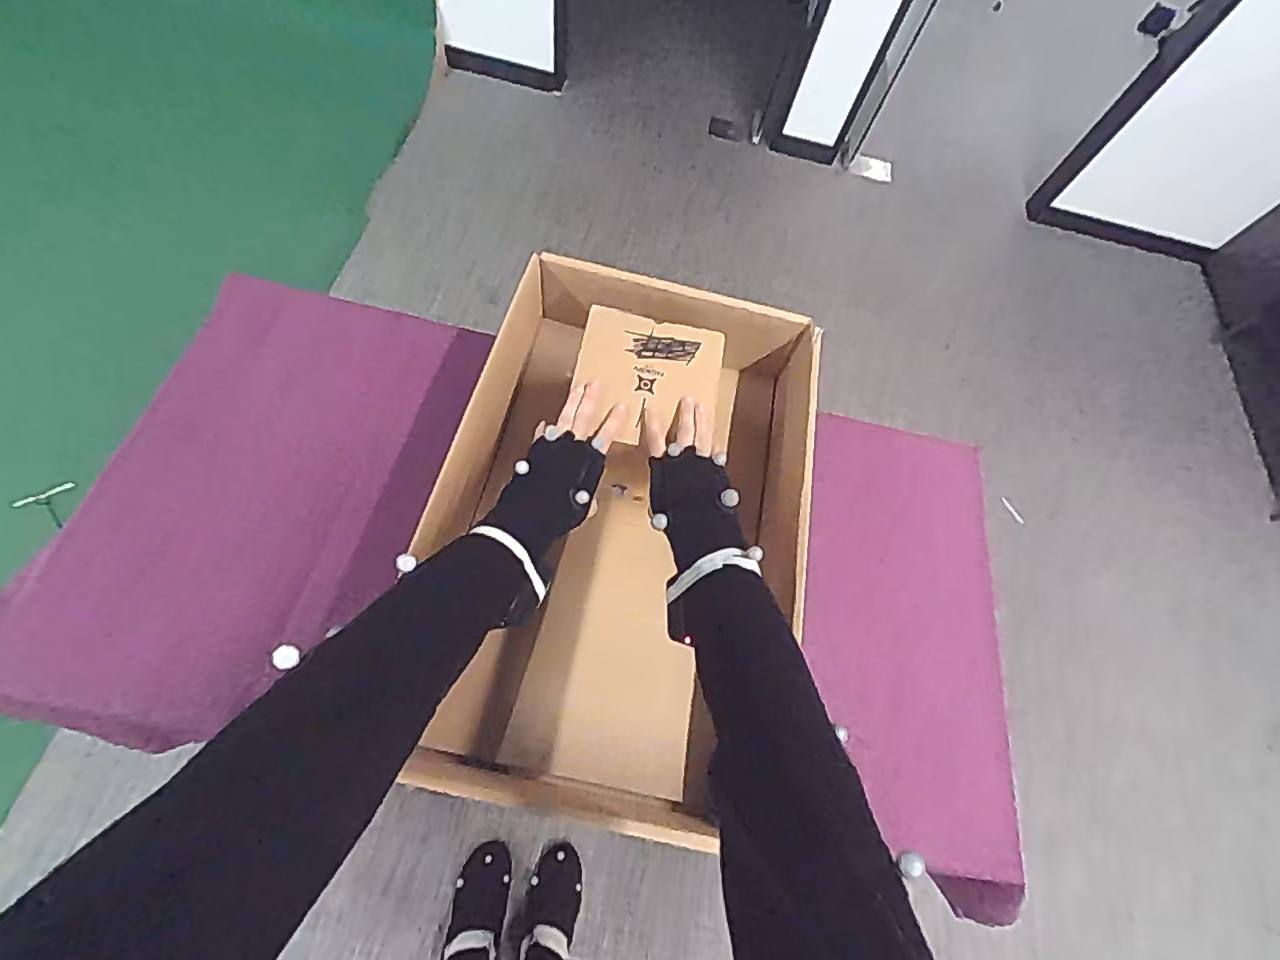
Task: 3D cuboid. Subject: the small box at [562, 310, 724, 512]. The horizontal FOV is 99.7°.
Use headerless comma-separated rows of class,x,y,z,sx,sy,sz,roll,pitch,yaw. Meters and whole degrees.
small box,-0.002,-0.078,0.685,0.168,0.176,0.179,11,67,-3
